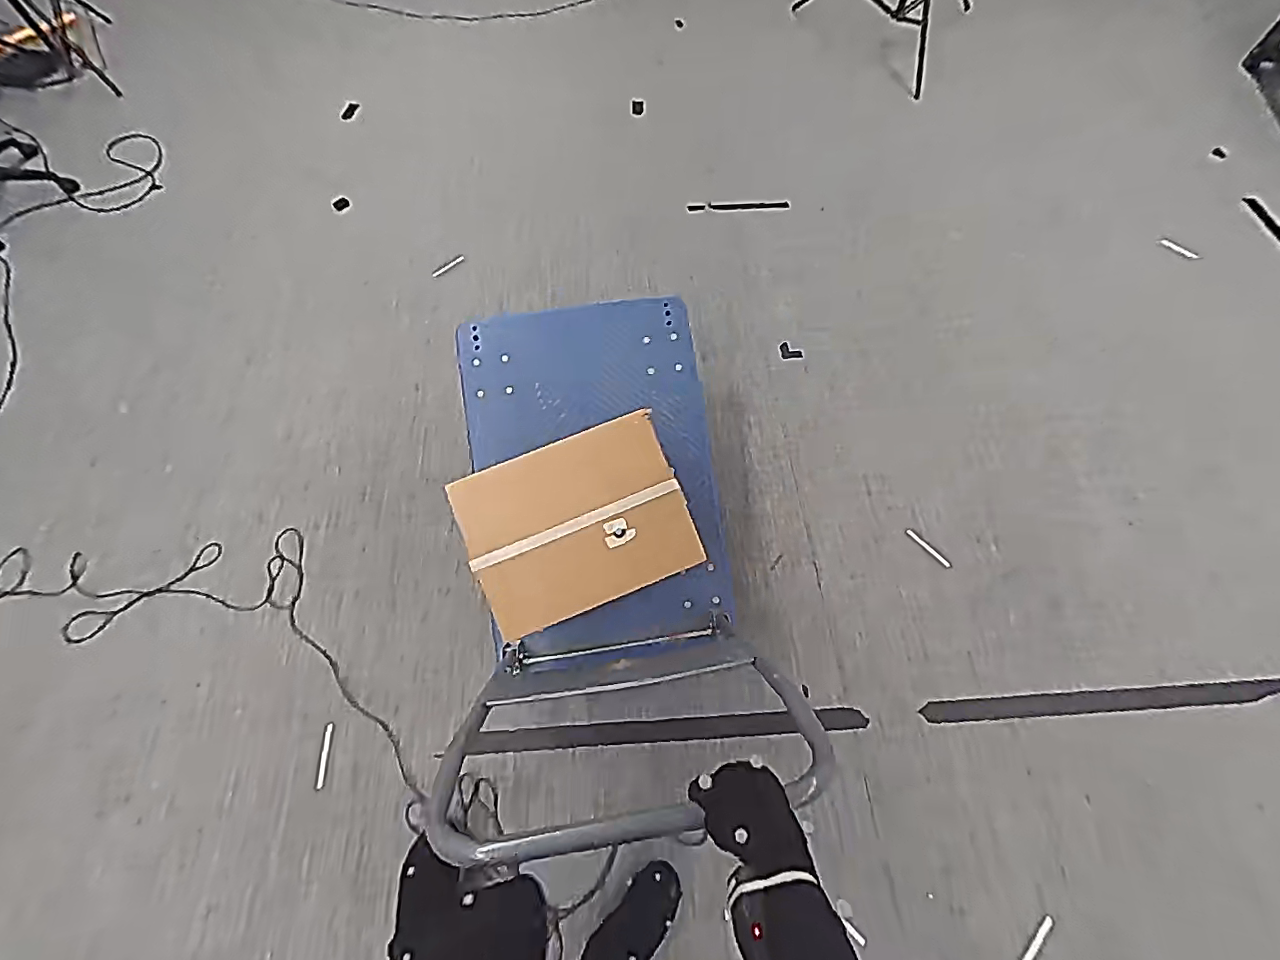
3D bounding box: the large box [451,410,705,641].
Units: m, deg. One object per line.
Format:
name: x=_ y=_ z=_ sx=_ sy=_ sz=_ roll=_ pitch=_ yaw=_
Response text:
large box: x=-0.125 y=0.097 z=1.161 sx=0.408 sy=0.320 sz=0.320 roll=-23 pitch=87 yaw=-6
